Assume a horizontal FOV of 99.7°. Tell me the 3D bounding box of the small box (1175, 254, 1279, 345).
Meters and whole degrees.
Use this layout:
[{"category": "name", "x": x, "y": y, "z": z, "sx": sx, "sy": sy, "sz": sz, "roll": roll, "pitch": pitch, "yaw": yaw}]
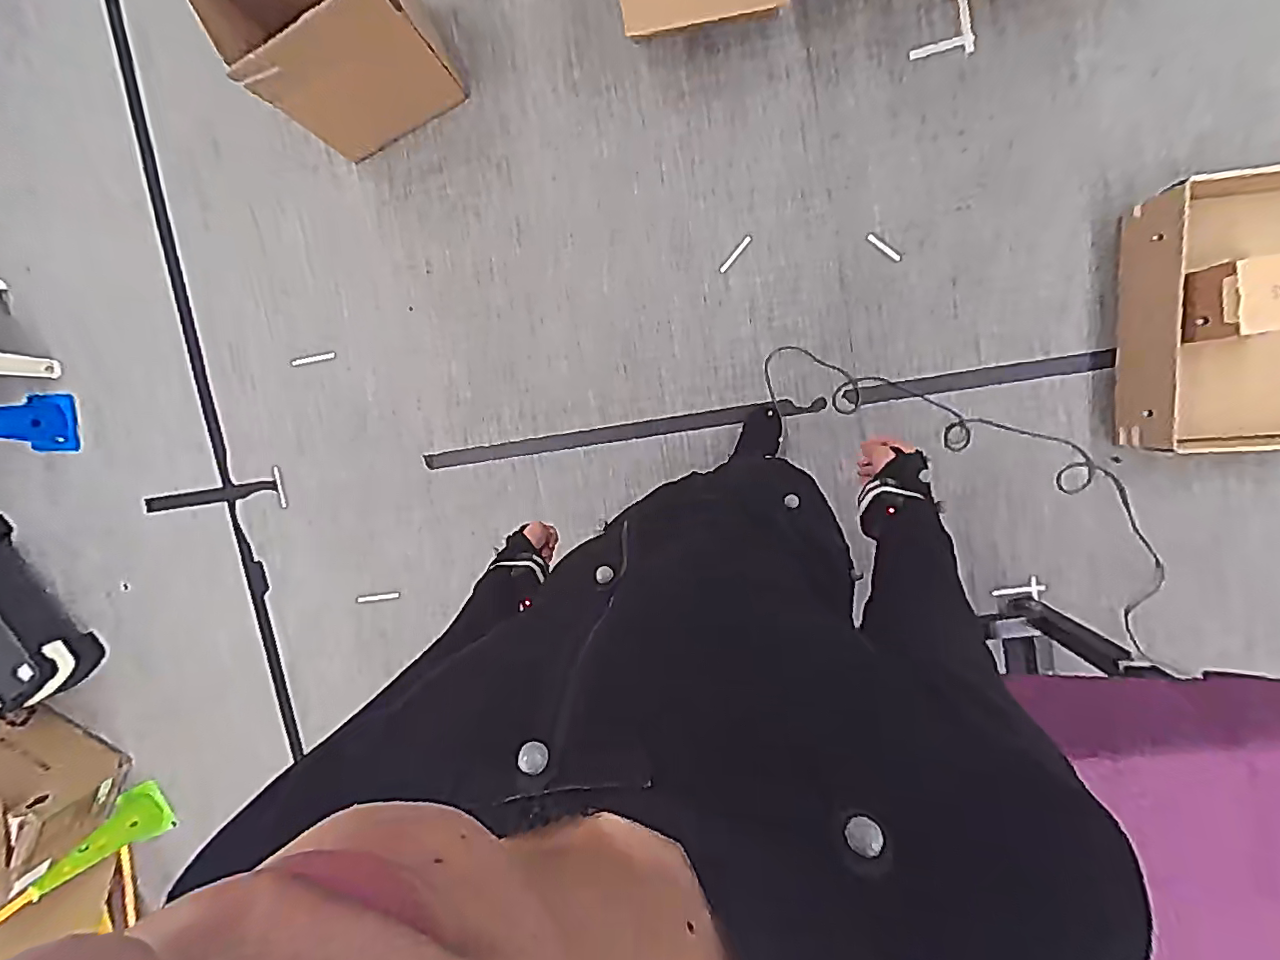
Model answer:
[{"category": "small box", "x": 1.395, "y": -0.416, "z": 1.250, "sx": 0.179, "sy": 0.176, "sz": 0.168, "roll": -8, "pitch": 97, "yaw": 9}]
